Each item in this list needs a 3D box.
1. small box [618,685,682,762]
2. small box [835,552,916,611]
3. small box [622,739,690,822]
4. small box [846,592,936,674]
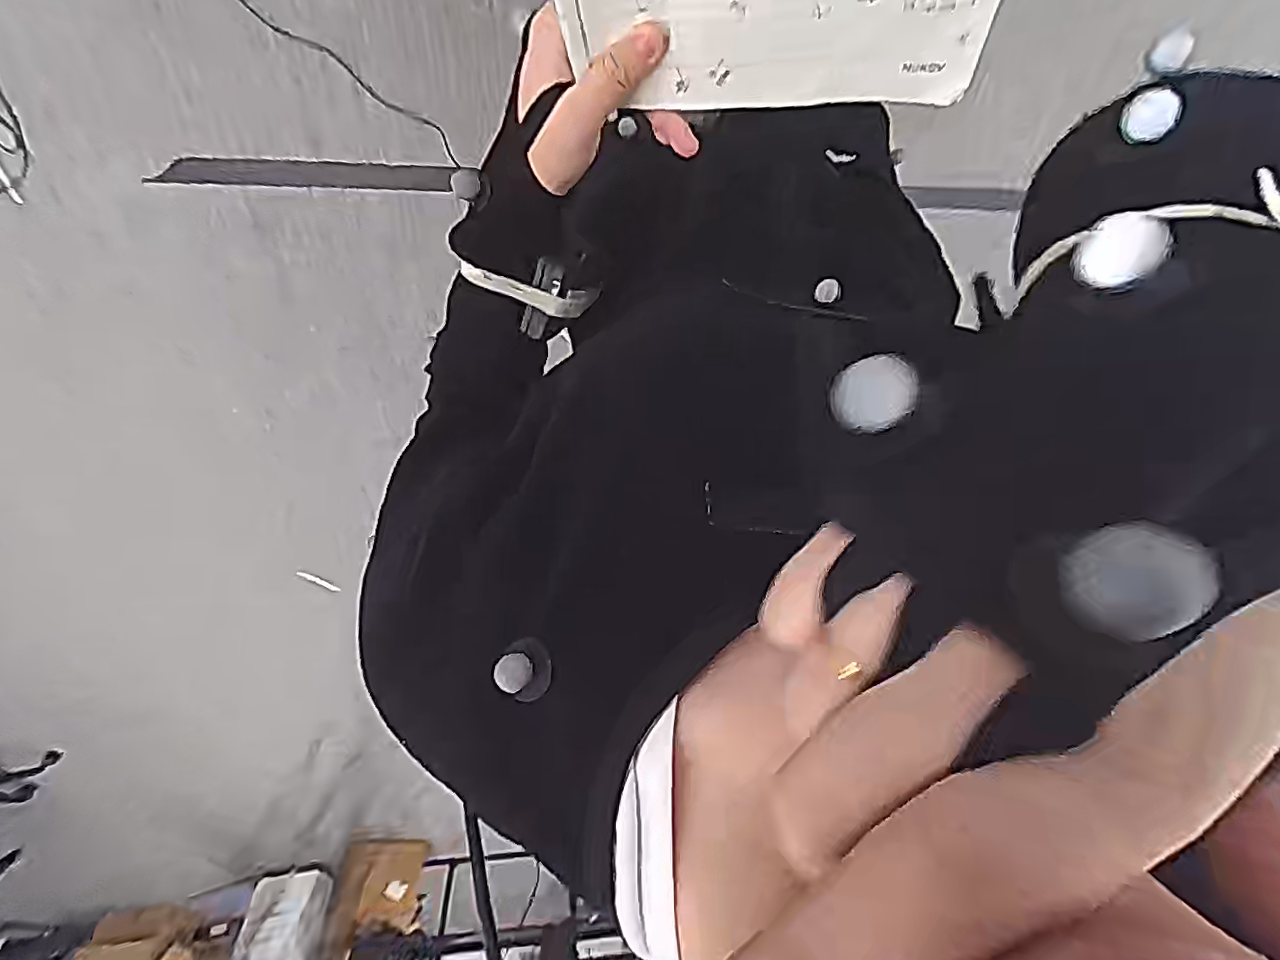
[{"bbox_3d":[0.025,0.762,1.700,0.179,0.176,0.168,0,131,-8],"label":"small box"},{"bbox_3d":[0.802,0.375,1.854,0.179,0.176,0.168,-35,125,24],"label":"small box"},{"bbox_3d":[0.041,0.878,1.583,0.168,0.176,0.179,2,130,-9],"label":"small box"},{"bbox_3d":[0.798,0.487,1.736,0.168,0.176,0.179,32,122,-27],"label":"small box"}]
